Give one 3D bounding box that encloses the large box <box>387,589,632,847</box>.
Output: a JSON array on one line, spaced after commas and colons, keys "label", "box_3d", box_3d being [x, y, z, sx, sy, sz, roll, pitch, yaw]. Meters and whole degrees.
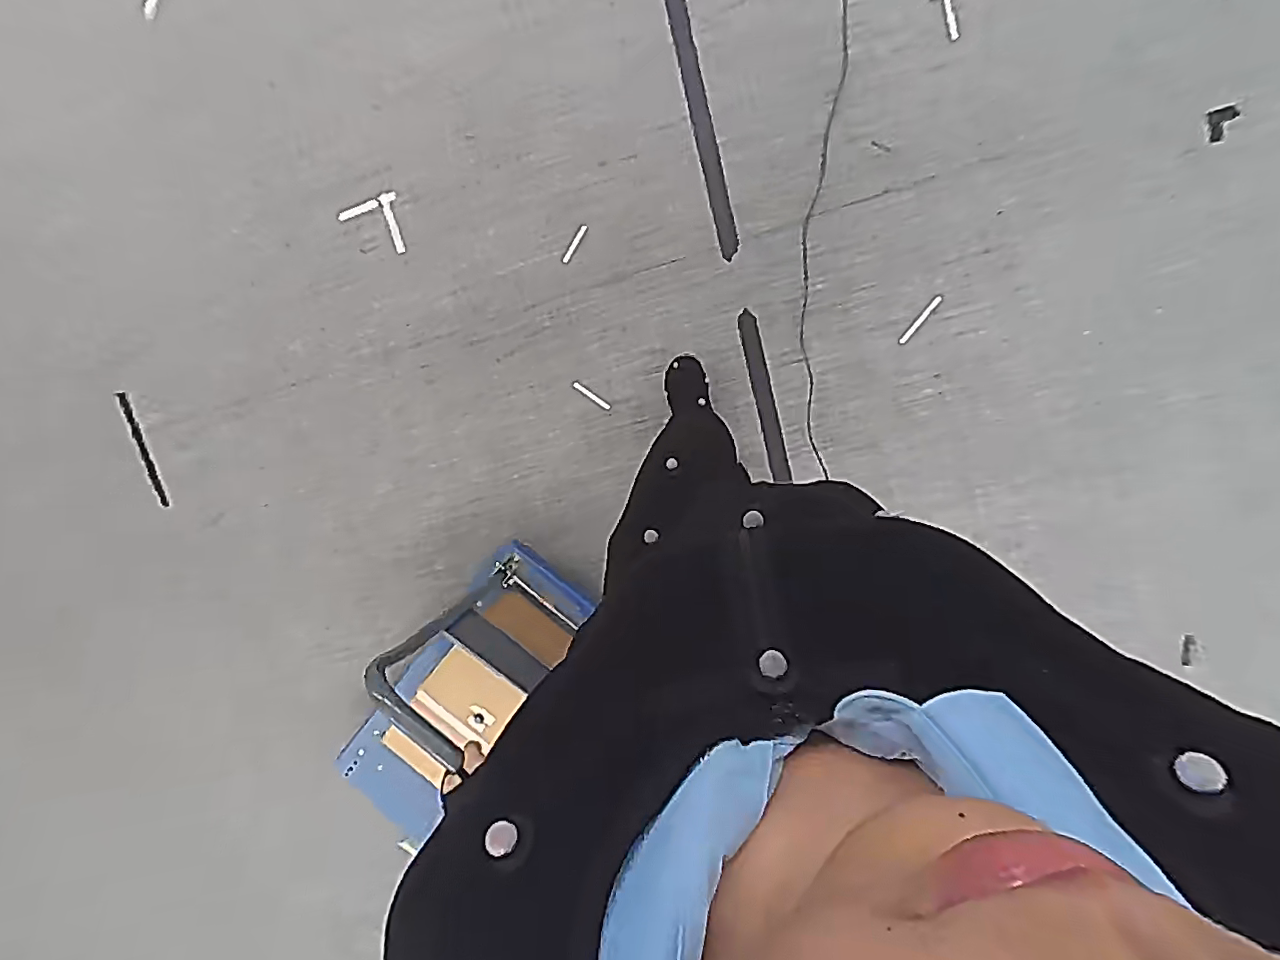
[{"label": "large box", "box_3d": [-0.280, 0.534, 1.279, 0.408, 0.320, 0.320, 39, 100, 1]}]
